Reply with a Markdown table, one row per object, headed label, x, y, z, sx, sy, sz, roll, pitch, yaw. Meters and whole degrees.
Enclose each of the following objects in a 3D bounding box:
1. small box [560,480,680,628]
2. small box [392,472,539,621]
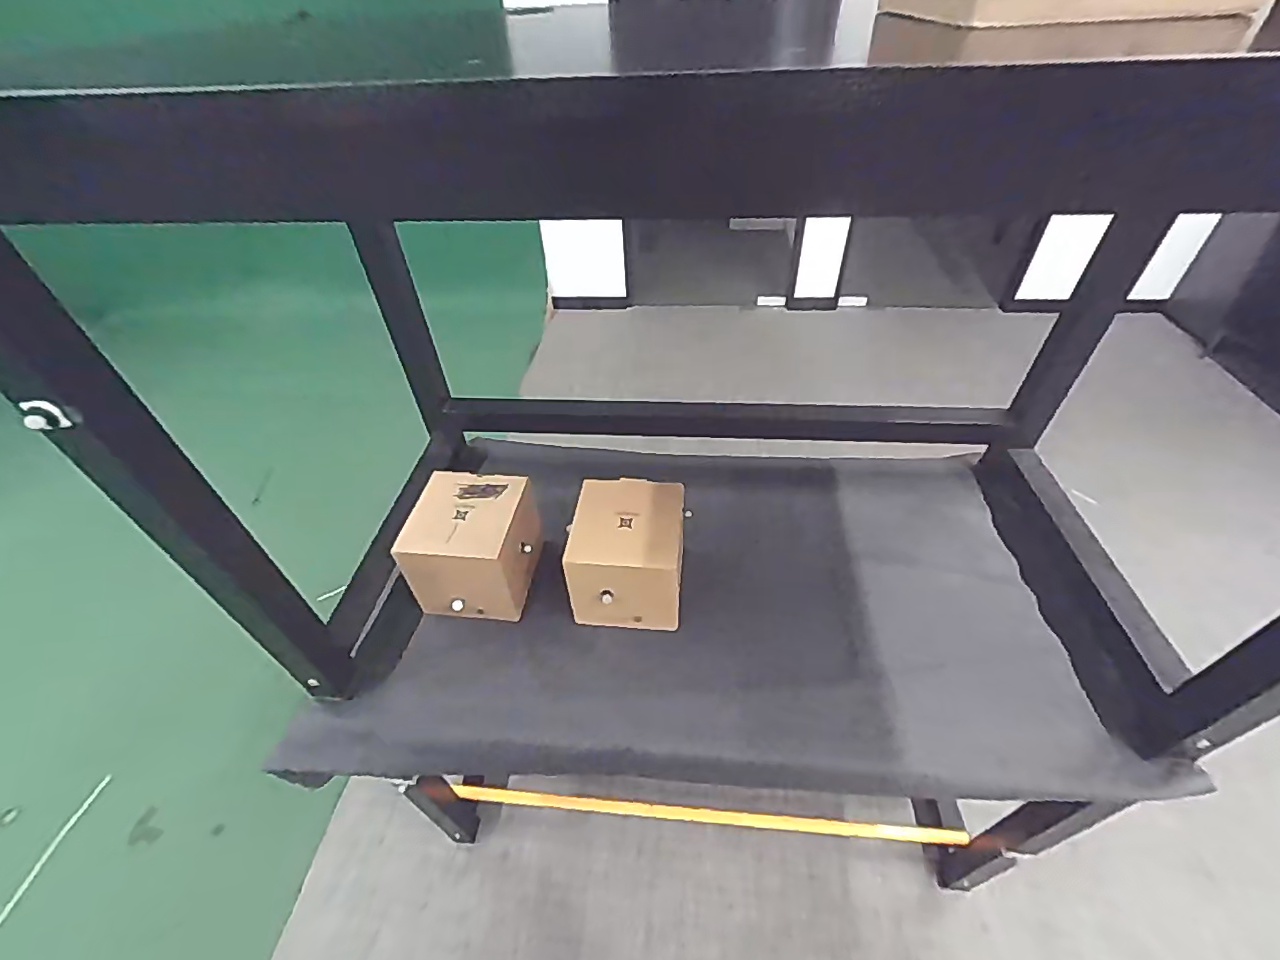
| label | x | y | z | sx | sy | sz | roll | pitch | yaw |
| --- | --- | --- | --- | --- | --- | --- | --- | --- | --- |
| small box | -0.022 | 0.121 | 0.877 | 0.168 | 0.176 | 0.179 | 3 | 43 | 6 |
| small box | -0.273 | 0.108 | 0.898 | 0.168 | 0.176 | 0.179 | 3 | 44 | 6 |
